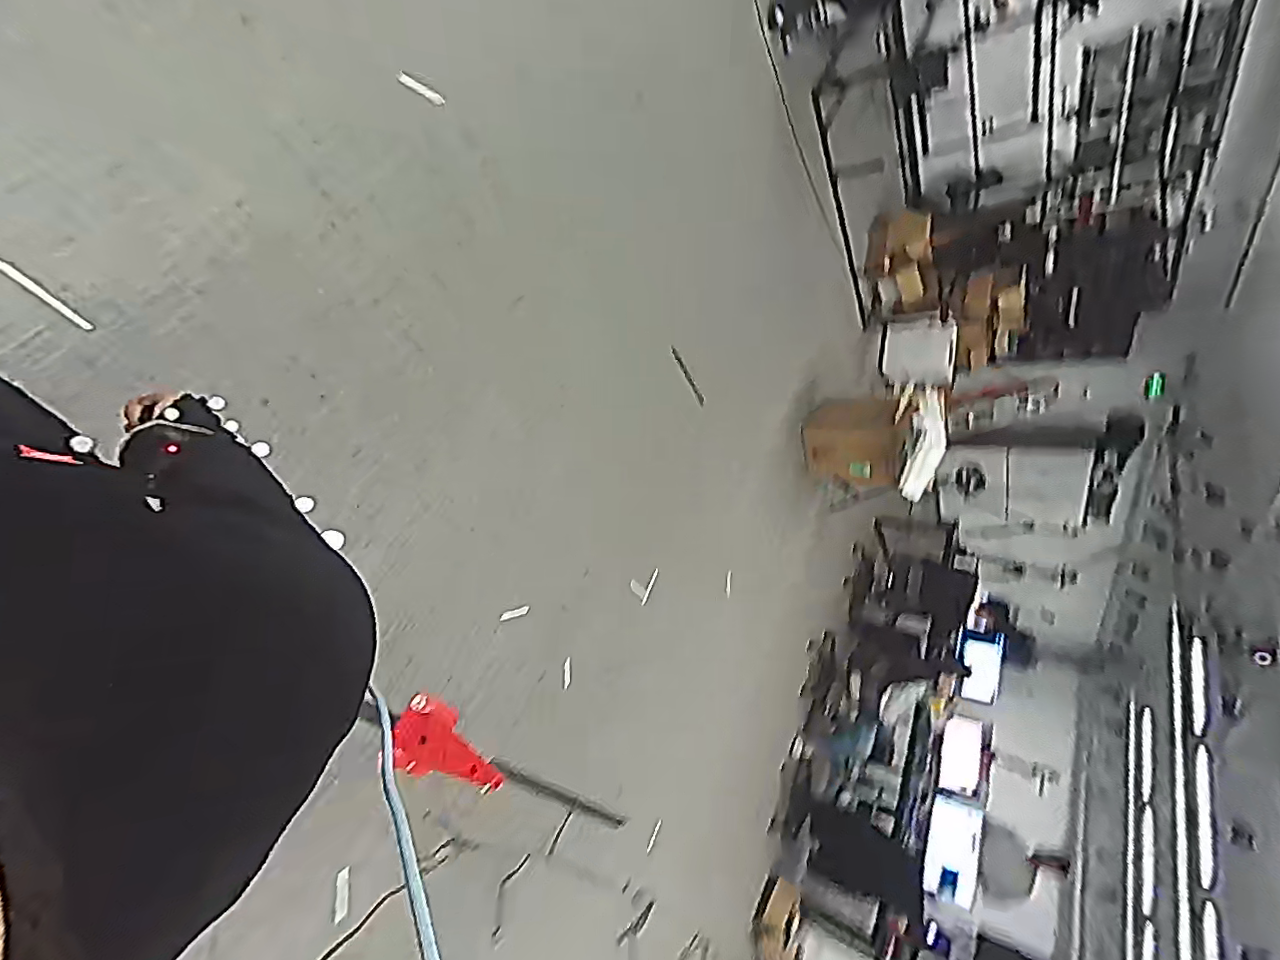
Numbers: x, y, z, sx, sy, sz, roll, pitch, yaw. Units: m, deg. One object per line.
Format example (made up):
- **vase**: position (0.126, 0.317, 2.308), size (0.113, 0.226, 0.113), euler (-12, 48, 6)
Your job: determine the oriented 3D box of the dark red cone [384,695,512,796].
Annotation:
- **dark red cone**: position (-0.495, 0.764, 1.485), size (0.202, 0.394, 0.201), euler (54, 54, -42)
